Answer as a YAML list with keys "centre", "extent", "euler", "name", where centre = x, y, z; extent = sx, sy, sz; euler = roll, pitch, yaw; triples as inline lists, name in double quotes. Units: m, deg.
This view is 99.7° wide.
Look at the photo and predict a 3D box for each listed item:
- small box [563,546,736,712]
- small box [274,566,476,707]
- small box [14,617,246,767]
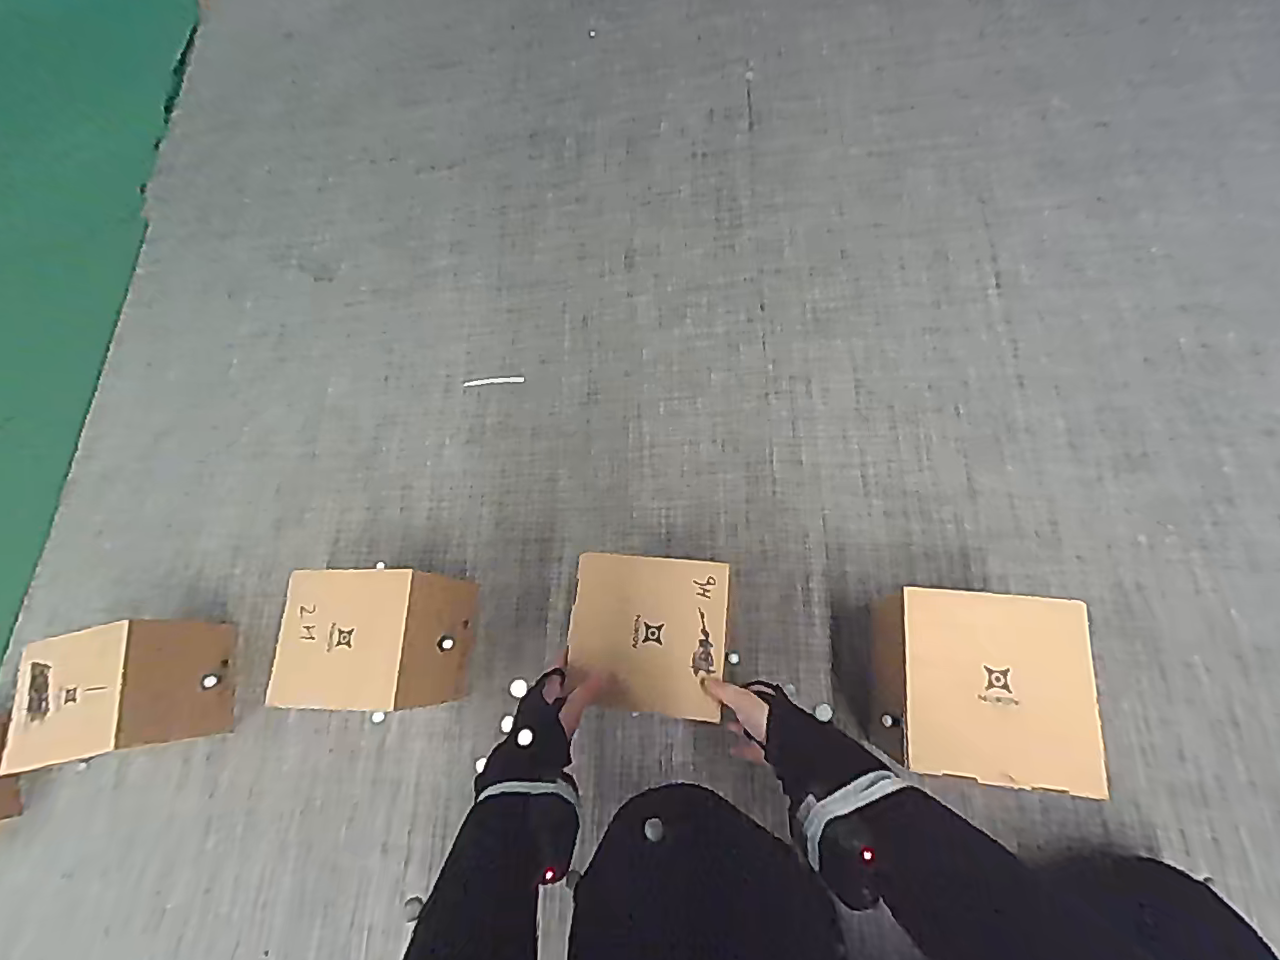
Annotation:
- centre: [0.023, 0.182, 0.673]
  extent: [0.179, 0.176, 0.168]
  euler: [2, 74, 13]
  name: "small box"
- centre: [-0.345, 0.210, 0.741]
  extent: [0.179, 0.176, 0.168]
  euler: [-2, 72, 11]
  name: "small box"
- centre: [-0.729, 0.304, 0.792]
  extent: [0.179, 0.176, 0.168]
  euler: [-14, 71, 7]
  name: "small box"
